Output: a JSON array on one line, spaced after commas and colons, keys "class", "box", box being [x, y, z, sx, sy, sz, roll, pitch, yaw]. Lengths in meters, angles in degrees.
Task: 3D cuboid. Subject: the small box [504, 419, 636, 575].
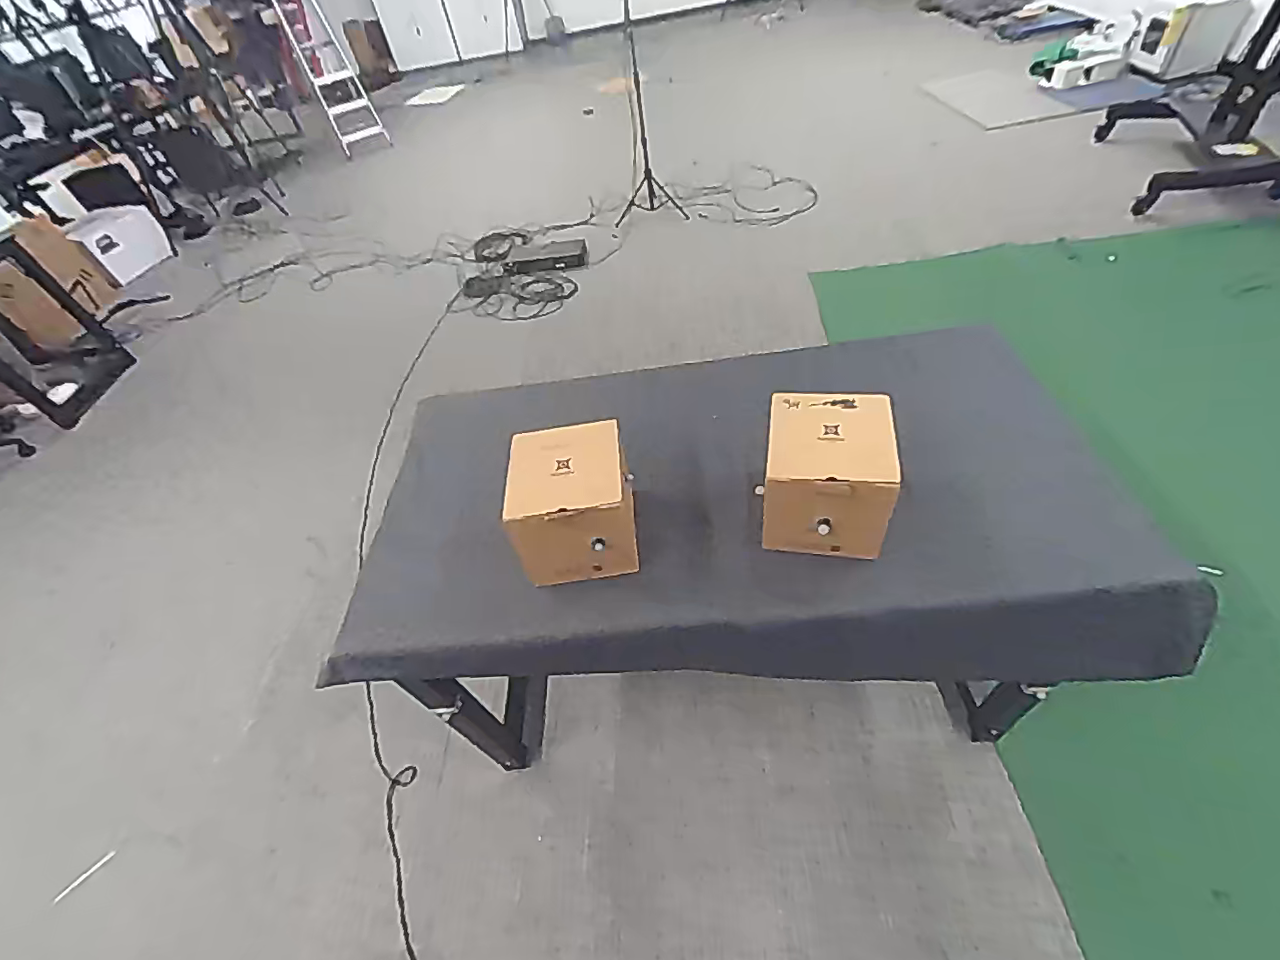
[{"class": "small box", "box": [-0.101, 0.033, 0.842, 0.168, 0.176, 0.179, -8, 45, 1]}]

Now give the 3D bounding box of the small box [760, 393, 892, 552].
[{"class": "small box", "box": [0.270, -0.010, 0.812, 0.168, 0.176, 0.179, 4, 50, 14]}]
